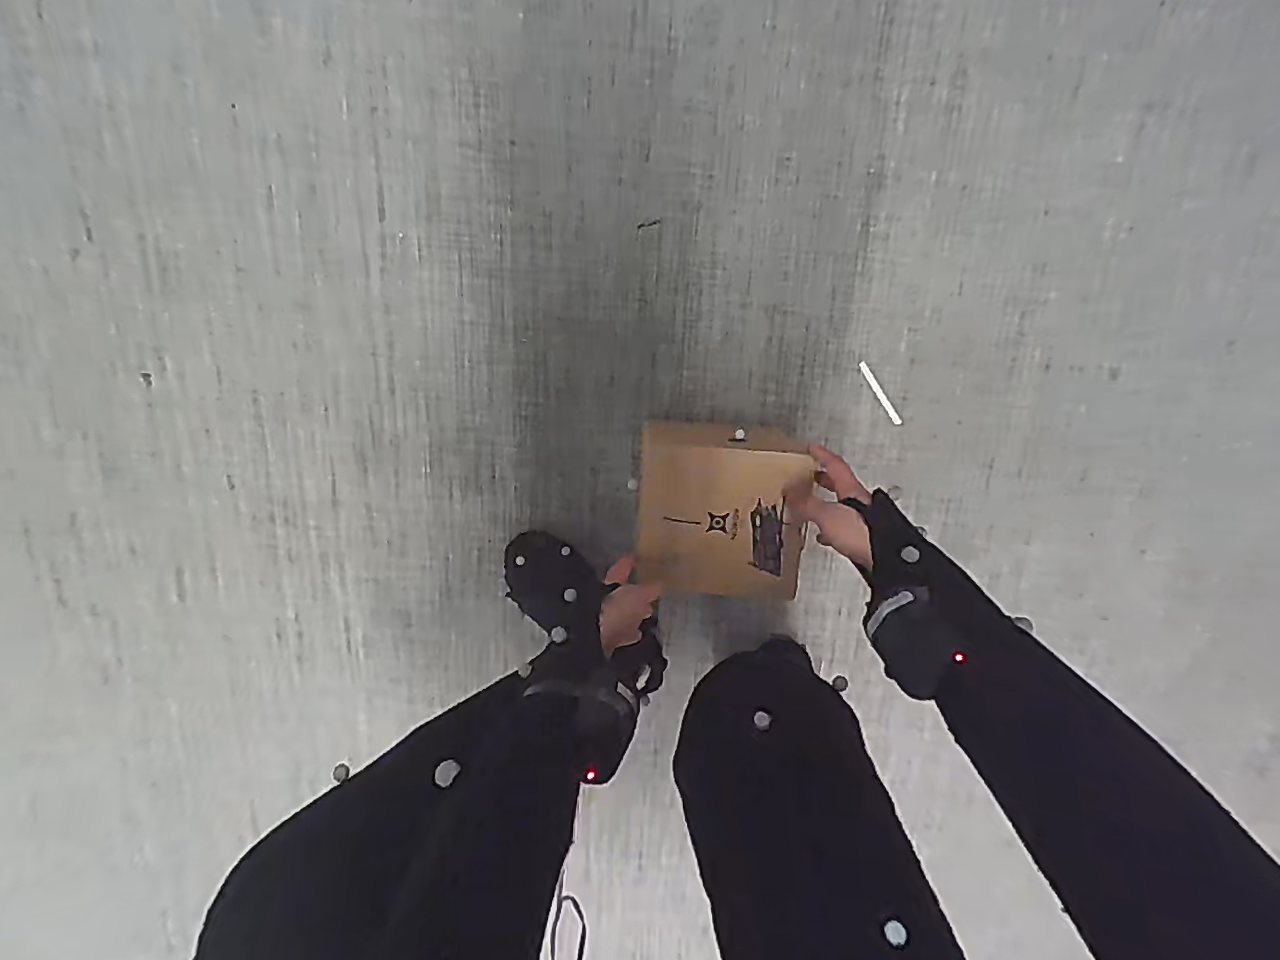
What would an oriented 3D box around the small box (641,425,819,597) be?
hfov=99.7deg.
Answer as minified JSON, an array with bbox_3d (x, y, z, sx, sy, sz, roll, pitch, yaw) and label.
[{"bbox_3d":[0.095,0.028,0.659,0.179,0.176,0.168,3,104,-1],"label":"small box"}]
